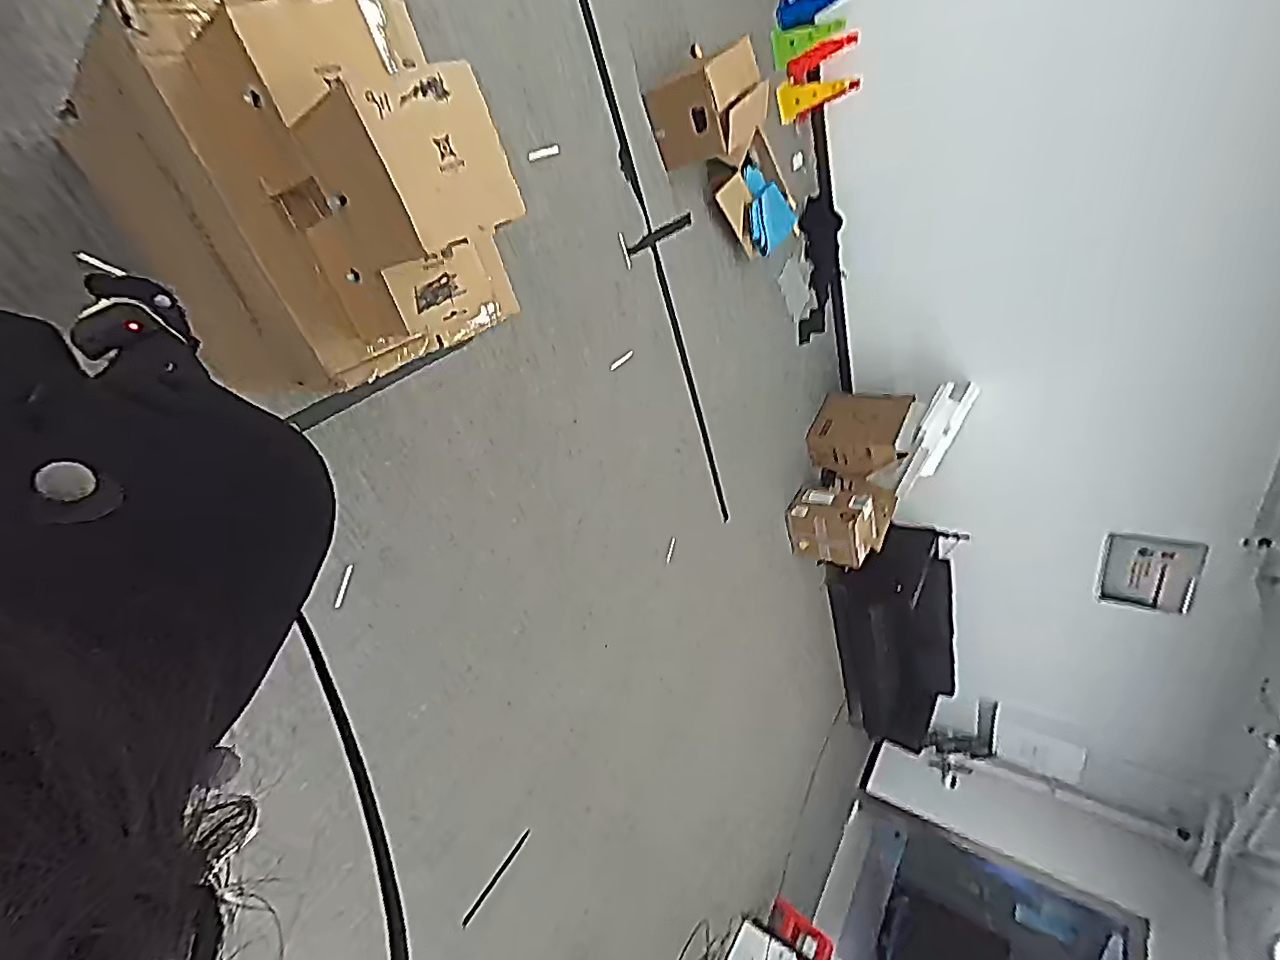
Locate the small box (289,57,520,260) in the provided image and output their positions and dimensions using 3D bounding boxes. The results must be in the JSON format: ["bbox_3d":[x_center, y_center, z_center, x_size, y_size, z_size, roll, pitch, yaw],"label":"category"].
[{"bbox_3d":[-0.289,-0.388,0.674,0.168,0.176,0.179,-44,129,-36],"label":"small box"}]

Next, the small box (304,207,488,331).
[{"bbox_3d":[-0.375,-0.338,0.838,0.168,0.176,0.179,-40,125,-39],"label":"small box"}]

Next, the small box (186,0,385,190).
[{"bbox_3d":[-0.446,-0.509,0.716,0.168,0.176,0.179,-44,130,-36],"label":"small box"}]
